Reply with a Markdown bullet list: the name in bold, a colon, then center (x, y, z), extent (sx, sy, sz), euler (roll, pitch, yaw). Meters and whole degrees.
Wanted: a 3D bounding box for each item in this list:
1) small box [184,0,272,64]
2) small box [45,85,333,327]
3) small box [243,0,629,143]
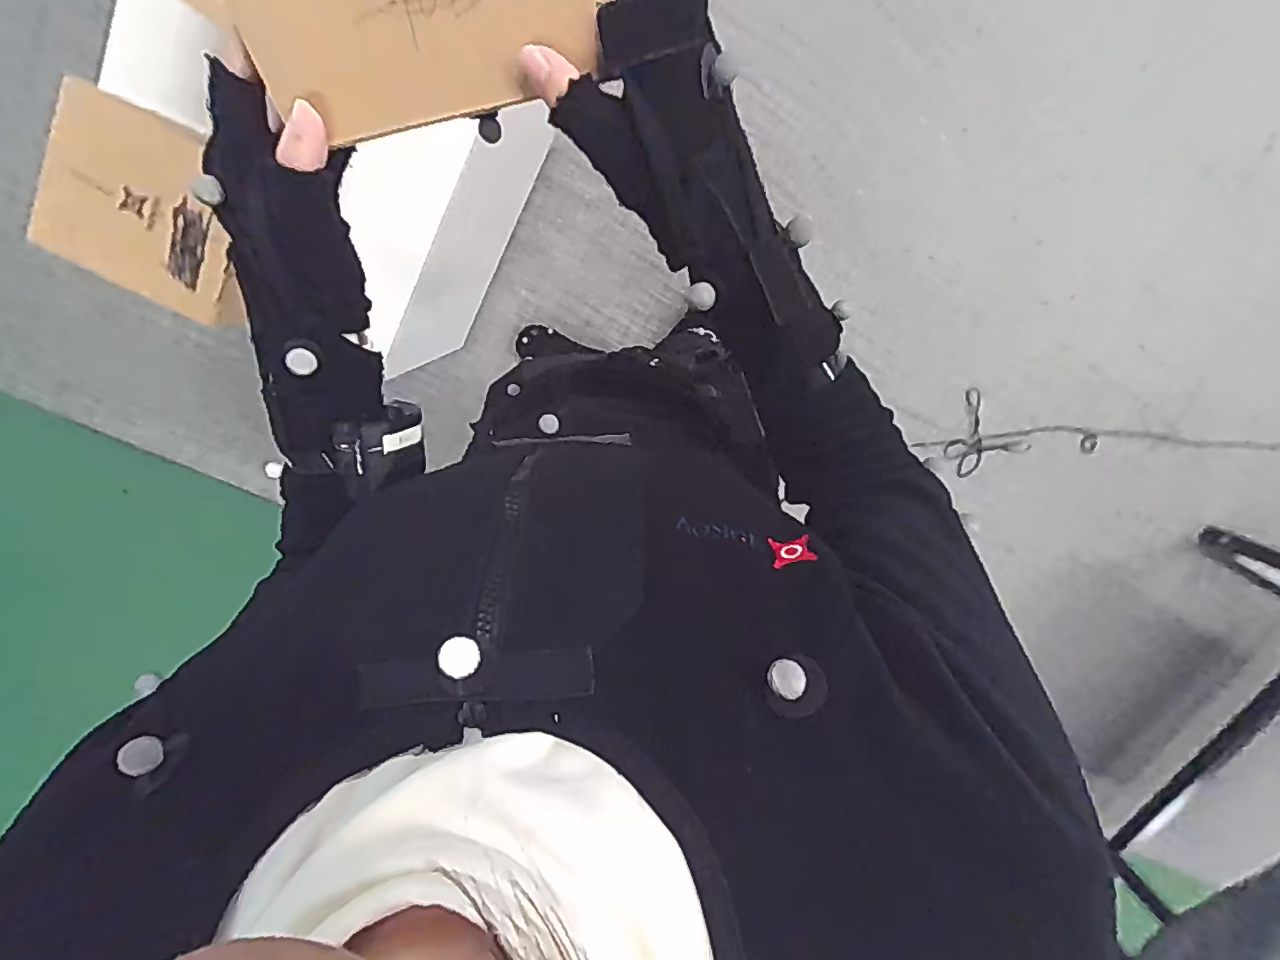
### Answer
- **small box**: center (-0.346, -0.512, 0.562), extent (0.179, 0.176, 0.168), euler (30, 105, -13)
- **small box**: center (-0.496, -0.296, 0.623), extent (0.179, 0.176, 0.168), euler (27, 104, -12)
- **small box**: center (-0.103, -0.295, 0.281), extent (0.168, 0.176, 0.179), euler (-9, 126, 4)
